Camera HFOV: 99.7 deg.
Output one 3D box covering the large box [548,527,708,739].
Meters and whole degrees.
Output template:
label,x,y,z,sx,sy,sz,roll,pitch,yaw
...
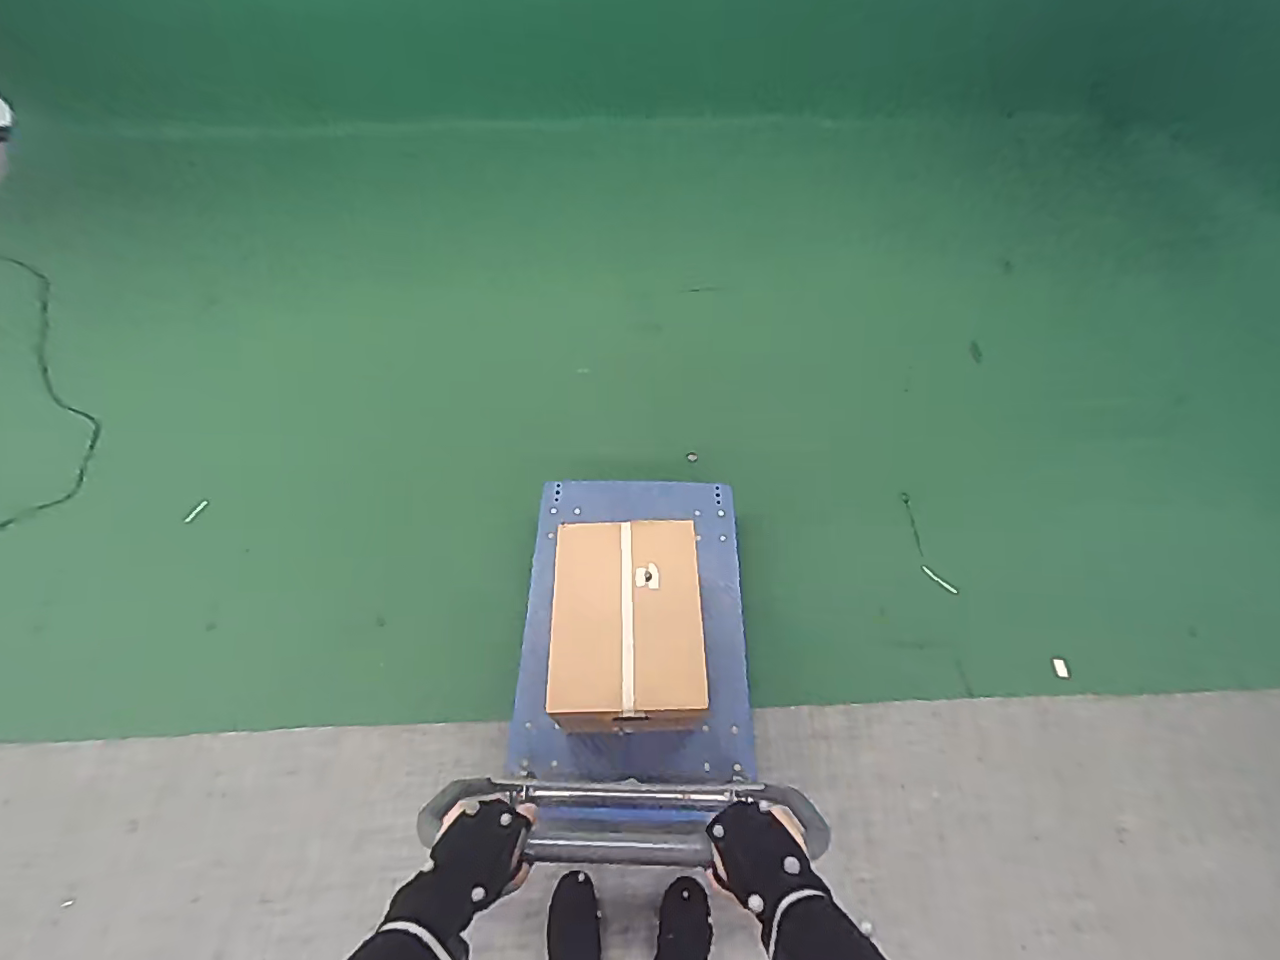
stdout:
label,x,y,z,sx,sy,sz,roll,pitch,yaw
large box,-0.026,0.362,1.261,0.320,0.320,0.408,-2,58,0
